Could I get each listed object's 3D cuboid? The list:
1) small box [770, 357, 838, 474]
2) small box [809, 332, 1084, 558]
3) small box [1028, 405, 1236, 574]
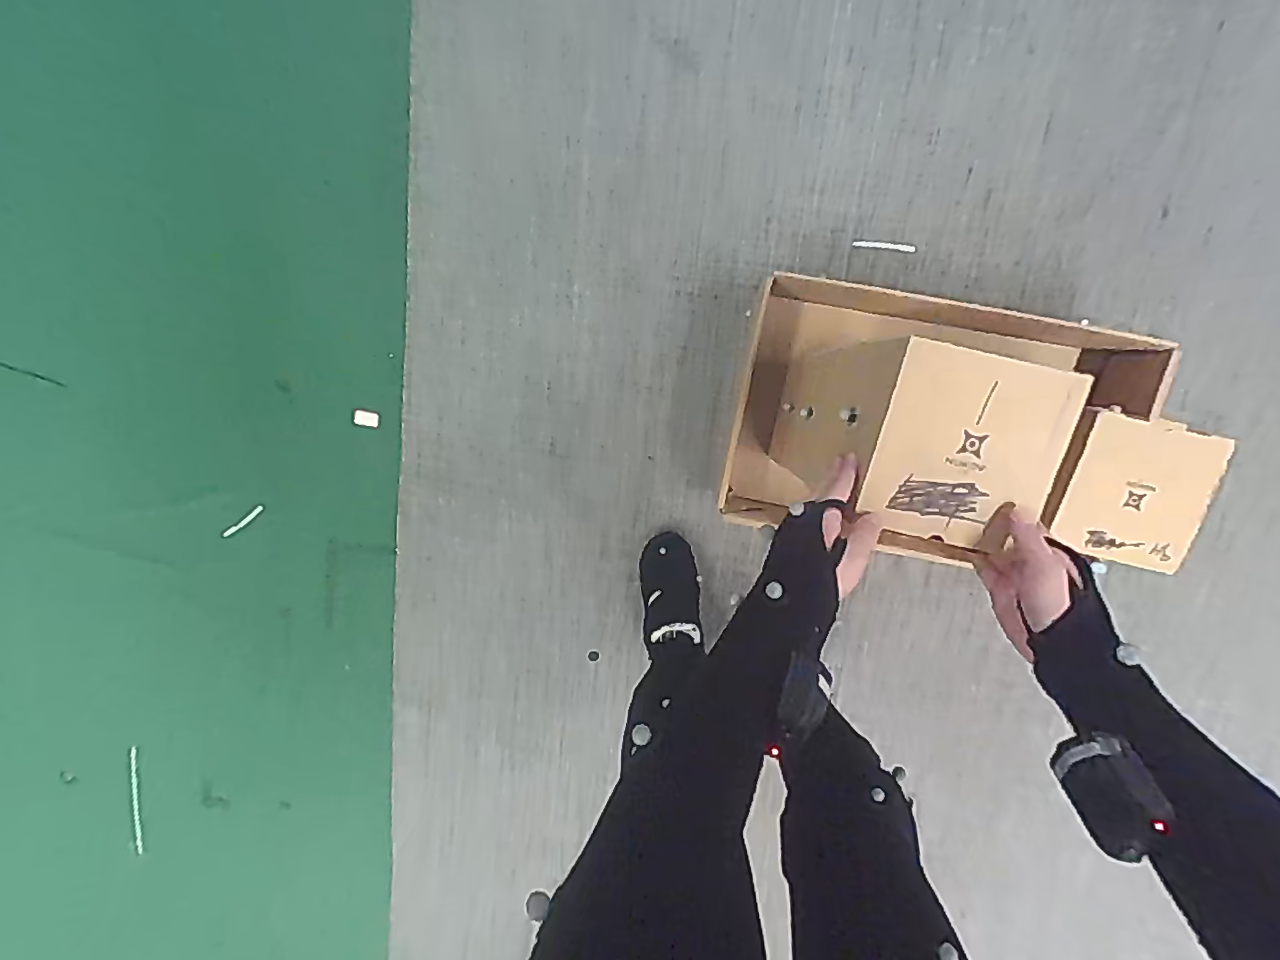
[{"bbox_3d":[0.323,-0.097,0.894,0.168,0.176,0.179,11,101,2],"label":"small box"},{"bbox_3d":[0.289,-0.042,0.559,0.168,0.176,0.179,12,100,0],"label":"small box"},{"bbox_3d":[0.601,-0.001,0.723,0.168,0.176,0.179,14,101,2],"label":"small box"}]
